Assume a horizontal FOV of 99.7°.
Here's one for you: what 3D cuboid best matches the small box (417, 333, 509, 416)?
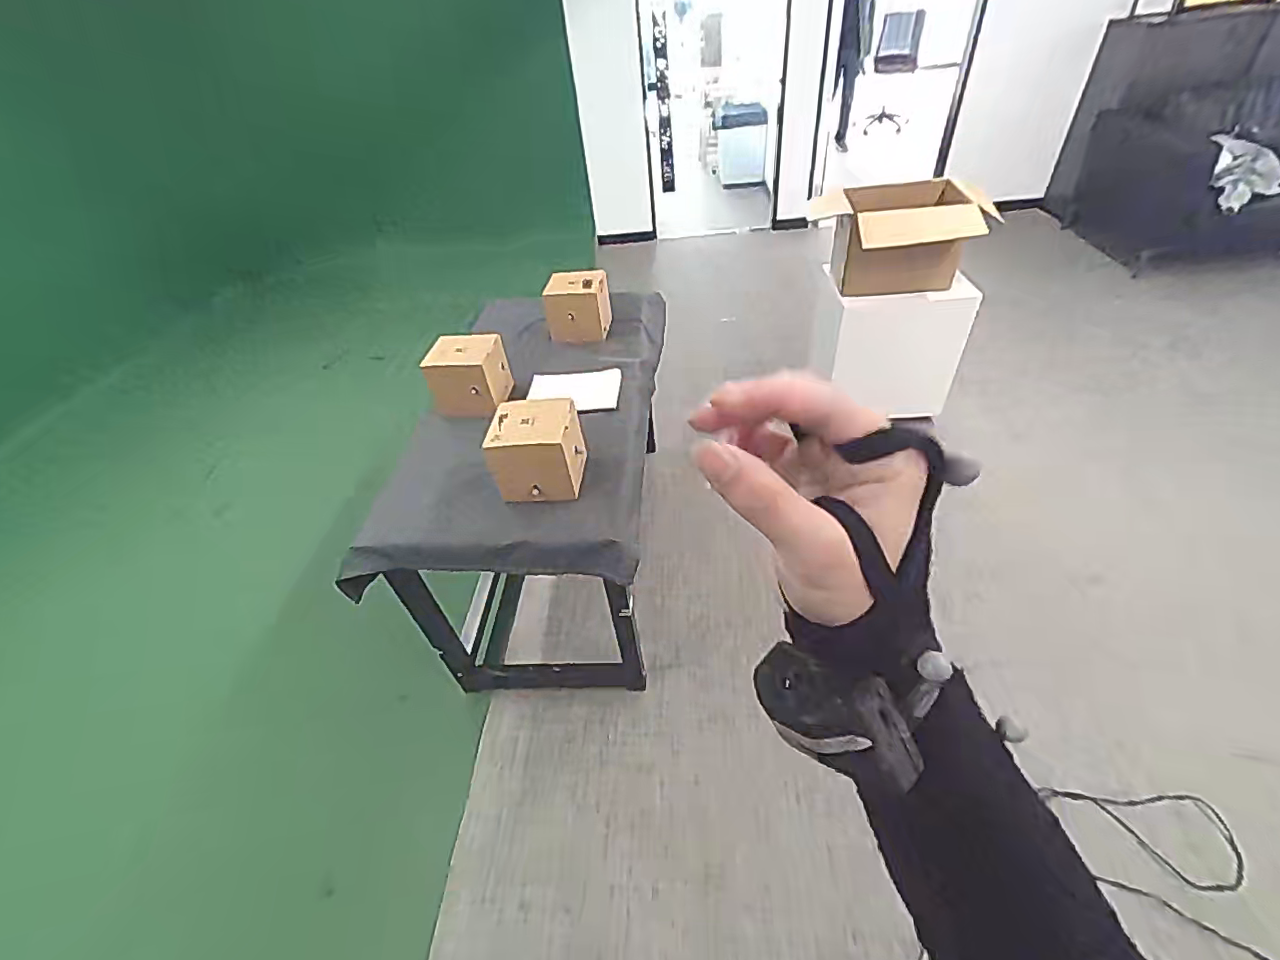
[{"bbox_3d":[-0.480,-0.290,1.497,0.179,0.176,0.168,-1,42,7],"label":"small box"}]

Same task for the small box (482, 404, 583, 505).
[{"bbox_3d":[-0.234,-0.056,1.234,0.179,0.176,0.168,-2,42,6],"label":"small box"}]

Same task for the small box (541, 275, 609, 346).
[{"bbox_3d":[-0.203,-0.548,1.760,0.179,0.176,0.168,0,43,8],"label":"small box"}]
